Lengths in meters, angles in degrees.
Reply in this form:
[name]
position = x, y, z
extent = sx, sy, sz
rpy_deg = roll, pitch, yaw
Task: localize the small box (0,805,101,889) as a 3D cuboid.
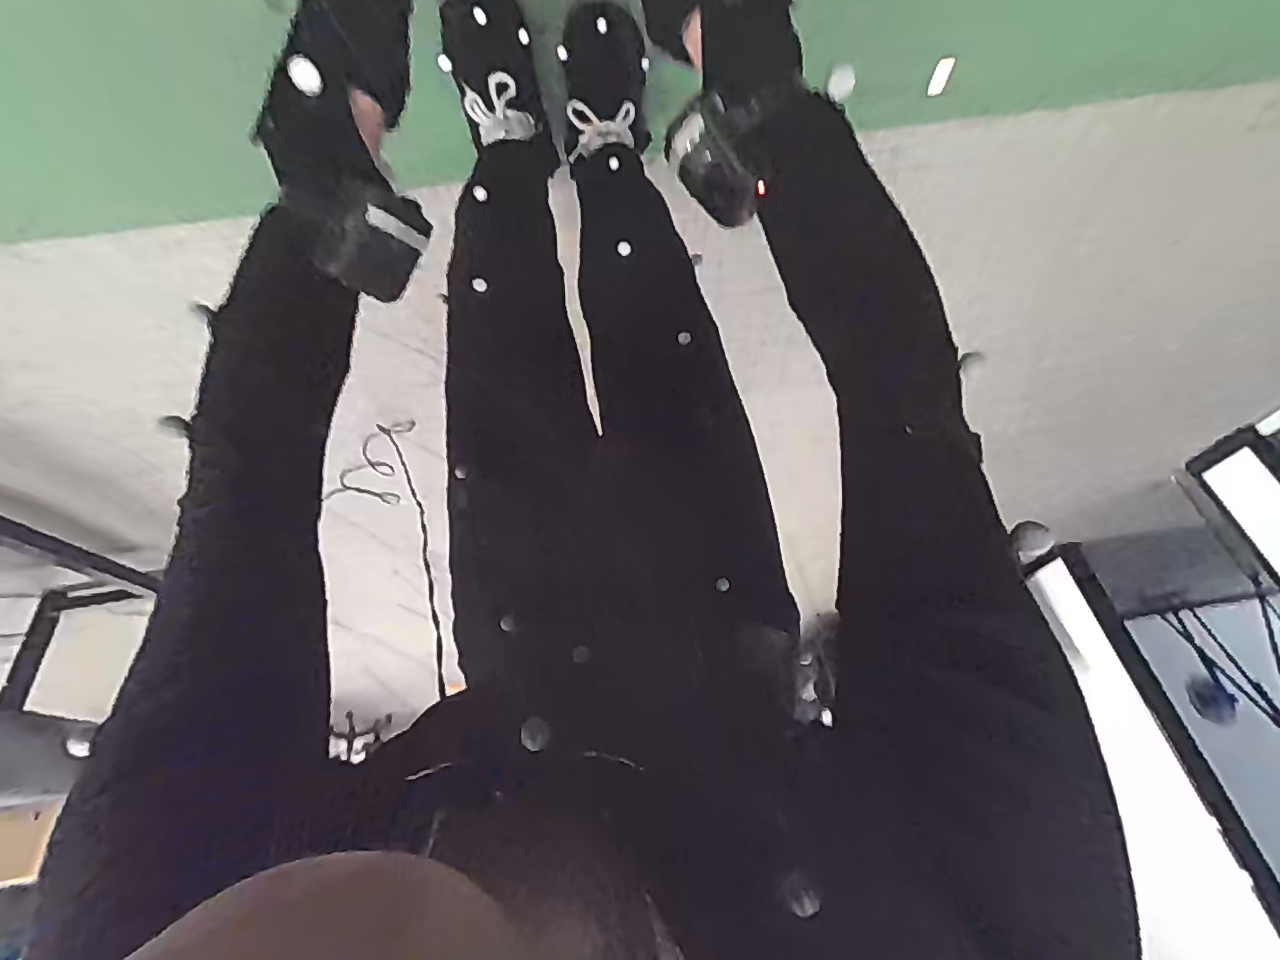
[small box]
position = -1.620, 0.978, 1.443
extent = 0.168, 0.176, 0.179
rpy_deg = -9, 150, -1
